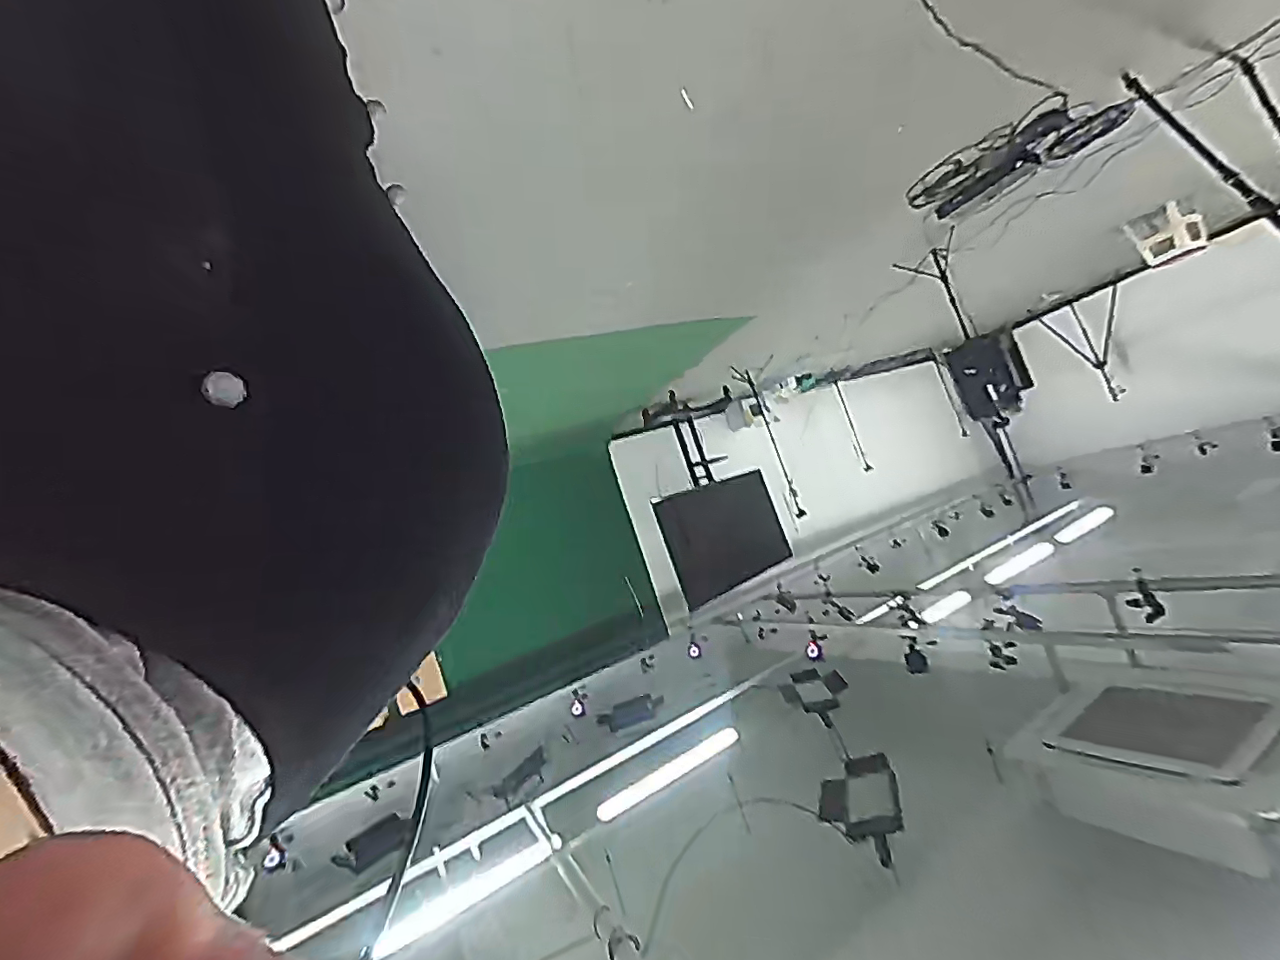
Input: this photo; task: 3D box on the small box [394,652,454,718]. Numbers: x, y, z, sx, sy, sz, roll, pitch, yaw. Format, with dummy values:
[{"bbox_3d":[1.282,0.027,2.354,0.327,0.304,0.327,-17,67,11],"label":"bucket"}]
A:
[{"bbox_3d":[-0.815,0.763,2.032,0.168,0.176,0.179,-19,175,-26],"label":"small box"}]
